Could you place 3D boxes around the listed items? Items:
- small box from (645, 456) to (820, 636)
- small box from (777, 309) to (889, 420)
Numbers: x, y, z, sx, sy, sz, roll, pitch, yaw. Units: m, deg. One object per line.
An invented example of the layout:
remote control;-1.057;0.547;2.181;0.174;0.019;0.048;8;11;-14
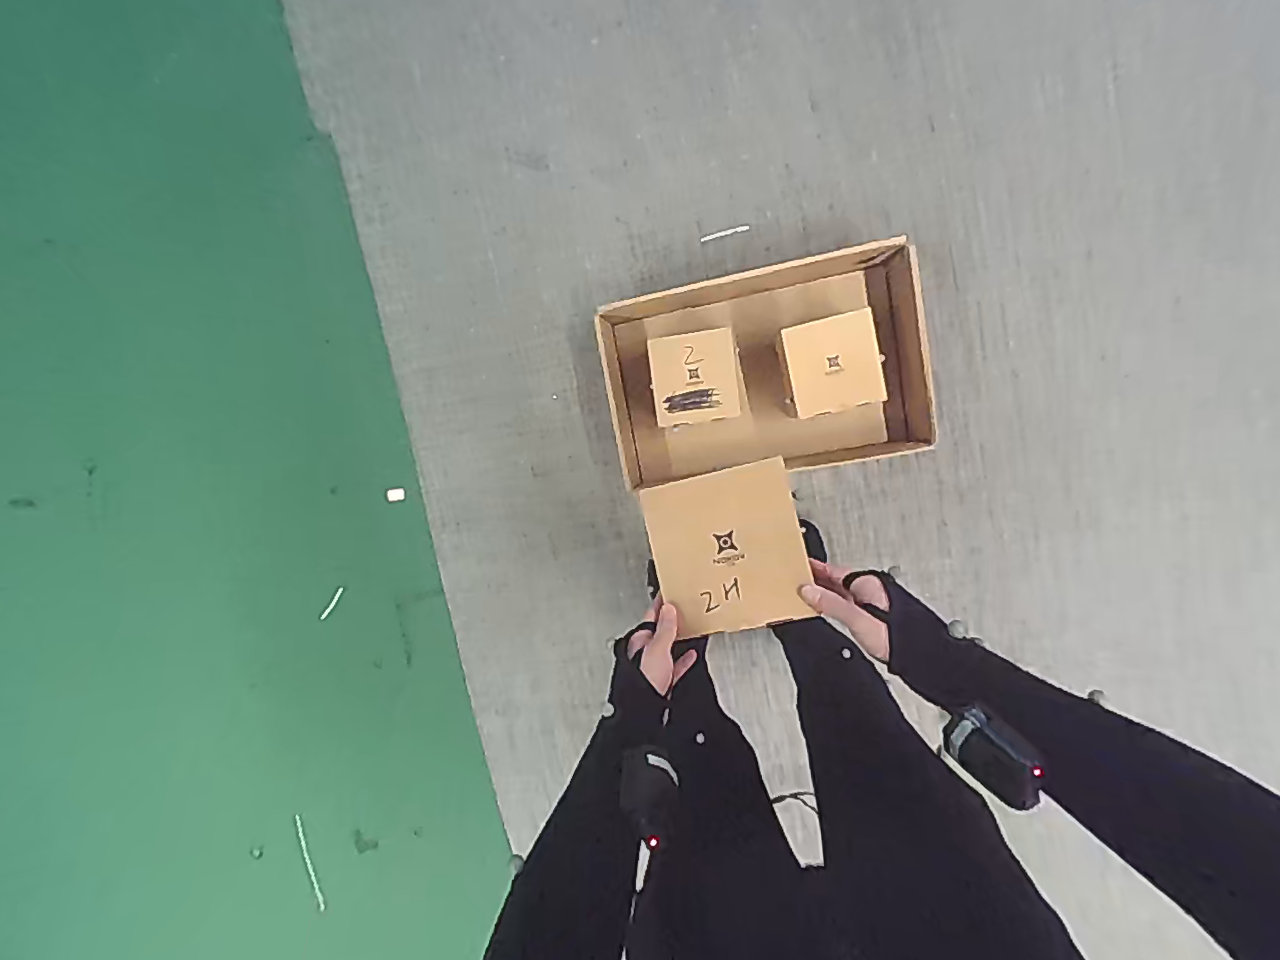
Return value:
small box;0.116;0.079;0.673;0.168;0.176;0.179;-13;85;13
small box;0.378;-0.223;1.087;0.168;0.176;0.179;-13;96;11
